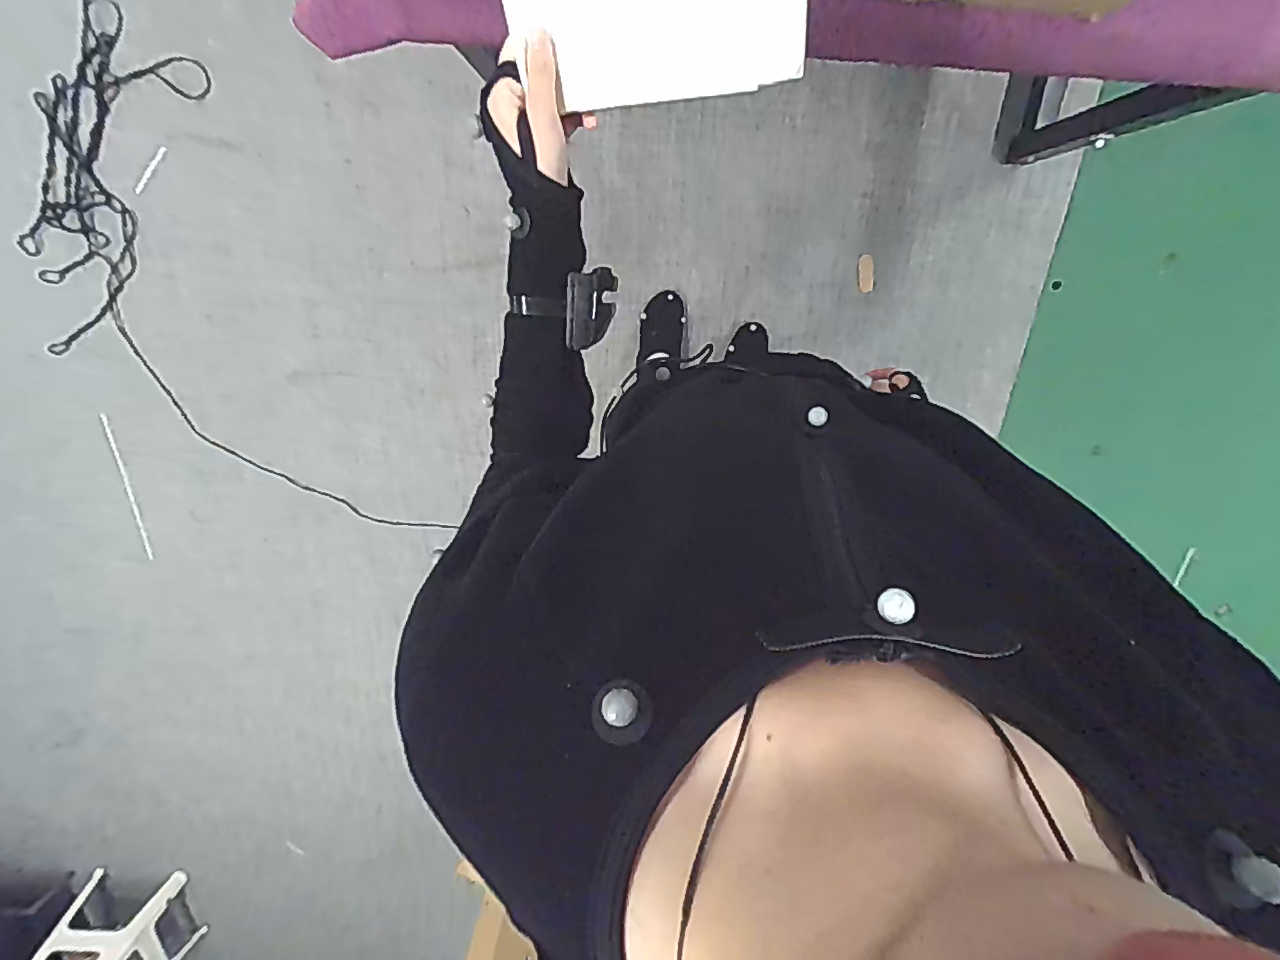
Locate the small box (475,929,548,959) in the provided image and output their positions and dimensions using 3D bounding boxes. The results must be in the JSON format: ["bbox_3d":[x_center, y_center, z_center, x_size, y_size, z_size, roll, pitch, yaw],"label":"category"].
[{"bbox_3d":[-0.362,1.362,1.451,0.168,0.176,0.179,36,109,-10],"label":"small box"}]
